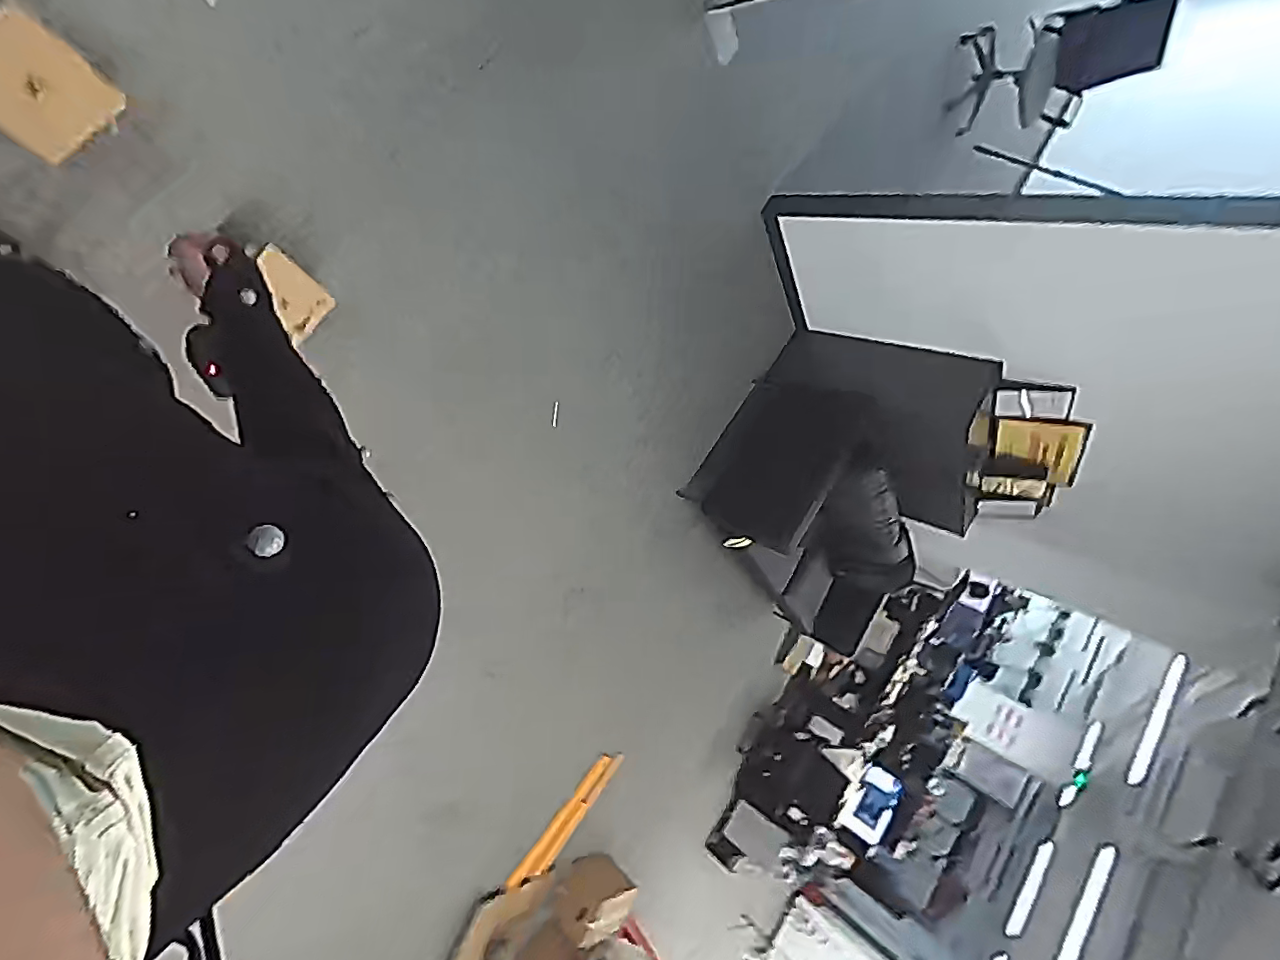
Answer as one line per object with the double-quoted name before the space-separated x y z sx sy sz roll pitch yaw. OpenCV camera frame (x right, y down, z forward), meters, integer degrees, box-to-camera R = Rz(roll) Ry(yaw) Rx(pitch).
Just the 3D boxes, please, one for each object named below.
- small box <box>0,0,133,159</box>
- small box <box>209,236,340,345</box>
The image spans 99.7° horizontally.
"small box" -1.038 -0.685 0.928 0.179 0.176 0.168 -55 141 -12
"small box" -0.858 -0.446 1.268 0.168 0.176 0.179 -55 140 -12
